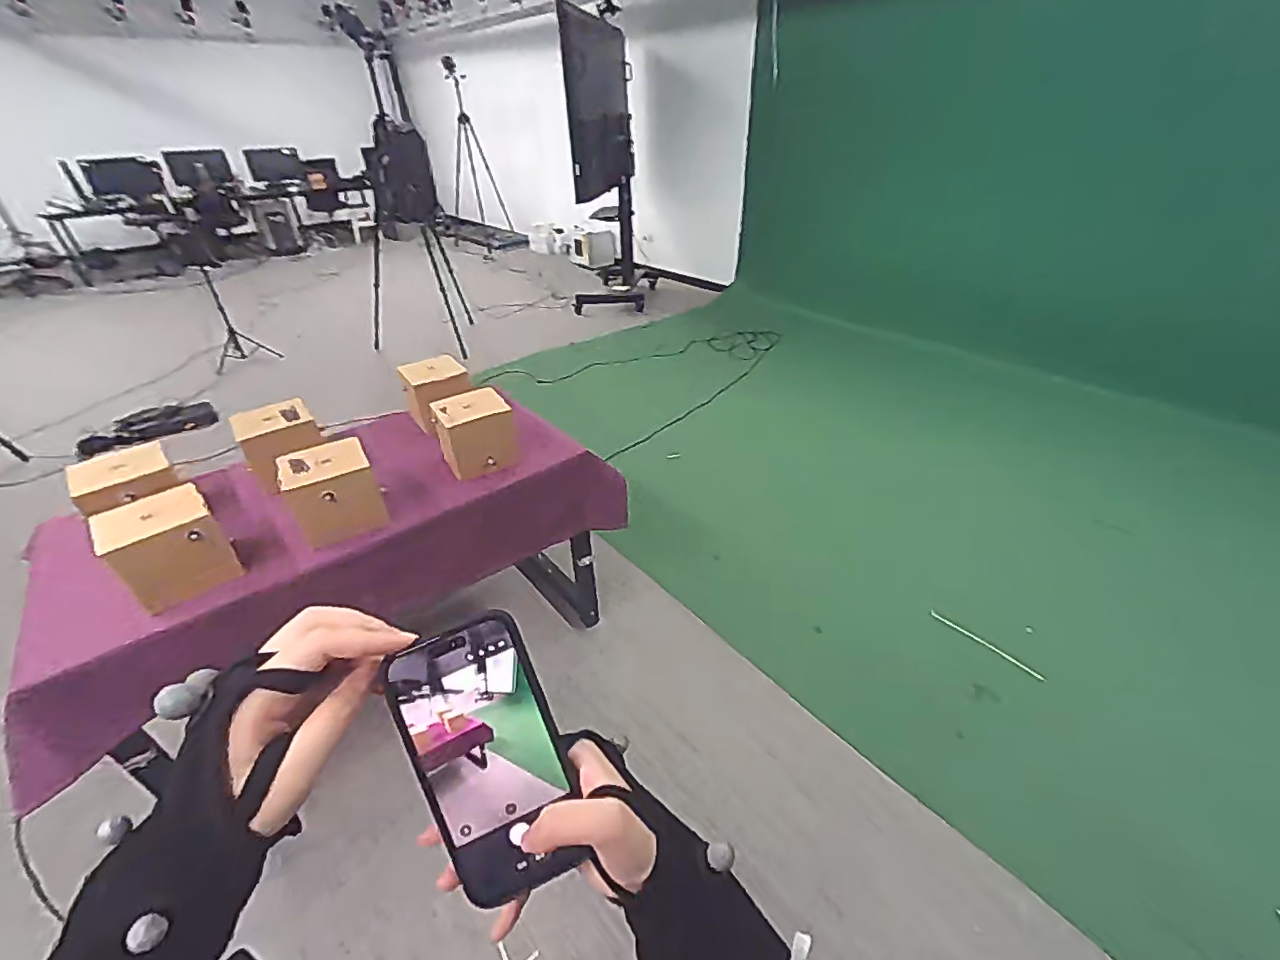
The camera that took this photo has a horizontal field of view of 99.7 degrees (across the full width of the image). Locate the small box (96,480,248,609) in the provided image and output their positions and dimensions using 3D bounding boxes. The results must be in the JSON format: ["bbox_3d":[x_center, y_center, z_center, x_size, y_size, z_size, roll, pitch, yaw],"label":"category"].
[{"bbox_3d":[-0.956,0.132,1.112,0.179,0.176,0.168,-29,43,-35],"label":"small box"}]

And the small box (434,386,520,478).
[{"bbox_3d":[-0.437,-0.131,1.468,0.179,0.176,0.168,-20,38,-25],"label":"small box"}]

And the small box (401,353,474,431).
[{"bbox_3d":[-0.620,-0.274,1.679,0.168,0.176,0.179,-23,41,-27],"label":"small box"}]

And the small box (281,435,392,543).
[{"bbox_3d":[-0.703,0.021,1.260,0.179,0.176,0.168,-20,39,-26],"label":"small box"}]
